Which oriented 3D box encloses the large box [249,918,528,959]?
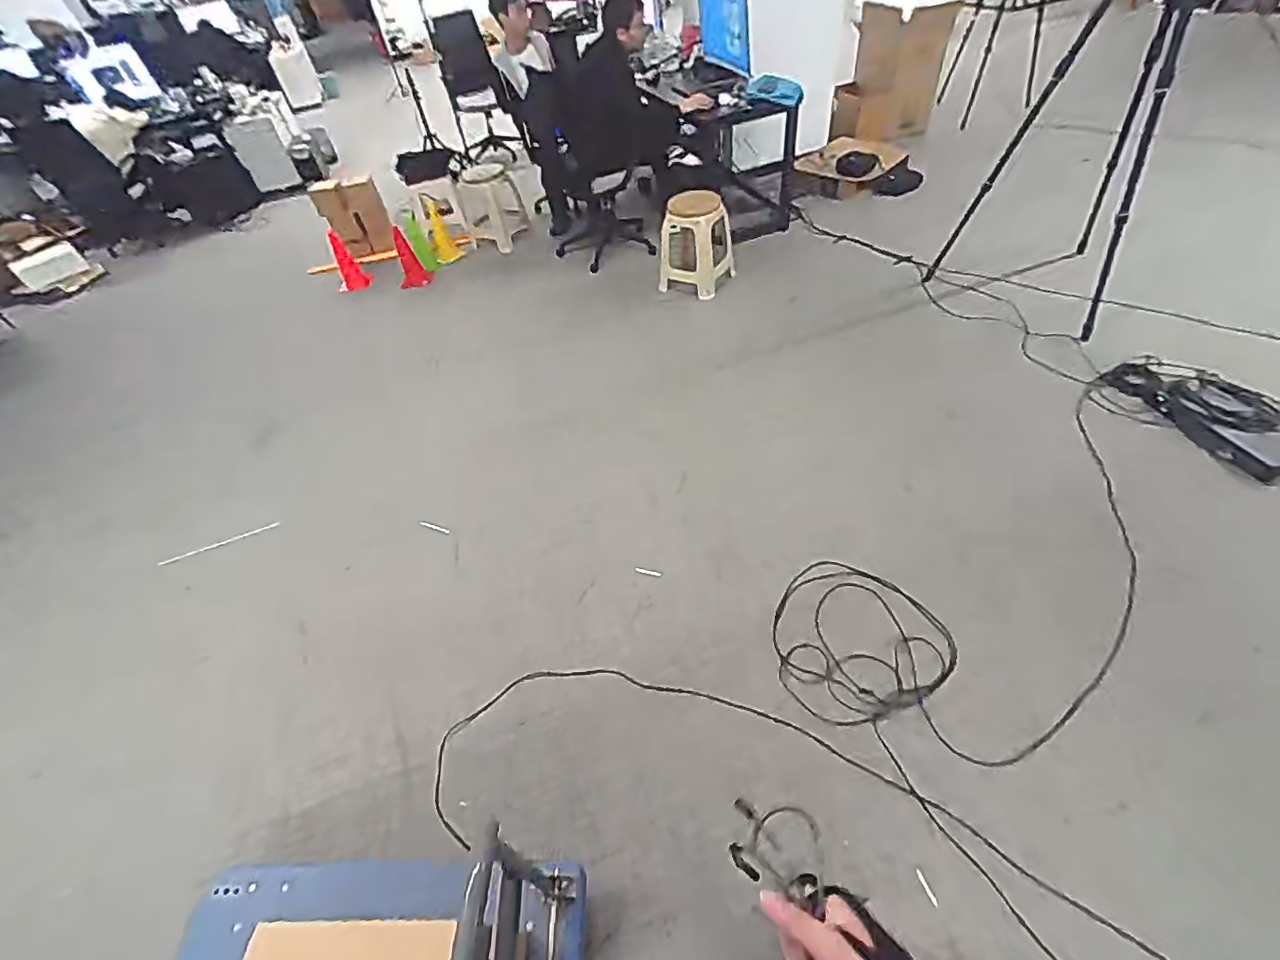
[{"bbox_3d":[-0.439,0.966,0.928,0.408,0.320,0.320,-5,47,6],"label":"large box"}]
